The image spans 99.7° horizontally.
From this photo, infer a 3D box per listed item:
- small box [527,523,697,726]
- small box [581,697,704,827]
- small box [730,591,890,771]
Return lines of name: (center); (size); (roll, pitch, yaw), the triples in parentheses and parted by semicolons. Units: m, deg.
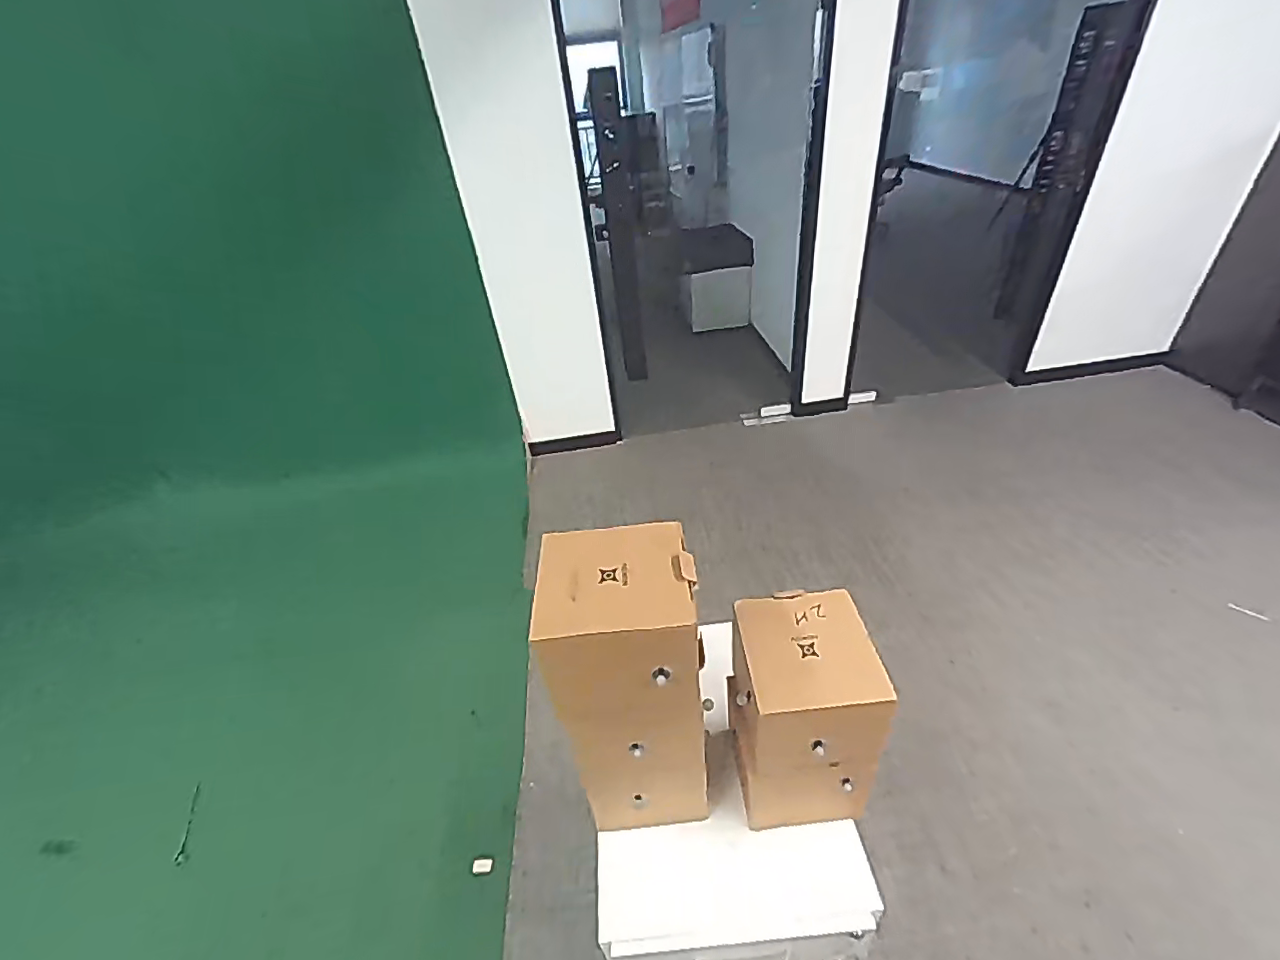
small box: (-0.026, 0.175, 0.659); (0.179, 0.176, 0.168); (-6, 36, 1)
small box: (0.004, 0.429, 0.865); (0.179, 0.176, 0.168); (-6, 37, -1)
small box: (0.221, 0.282, 0.751); (0.168, 0.176, 0.179); (-6, 36, 1)
